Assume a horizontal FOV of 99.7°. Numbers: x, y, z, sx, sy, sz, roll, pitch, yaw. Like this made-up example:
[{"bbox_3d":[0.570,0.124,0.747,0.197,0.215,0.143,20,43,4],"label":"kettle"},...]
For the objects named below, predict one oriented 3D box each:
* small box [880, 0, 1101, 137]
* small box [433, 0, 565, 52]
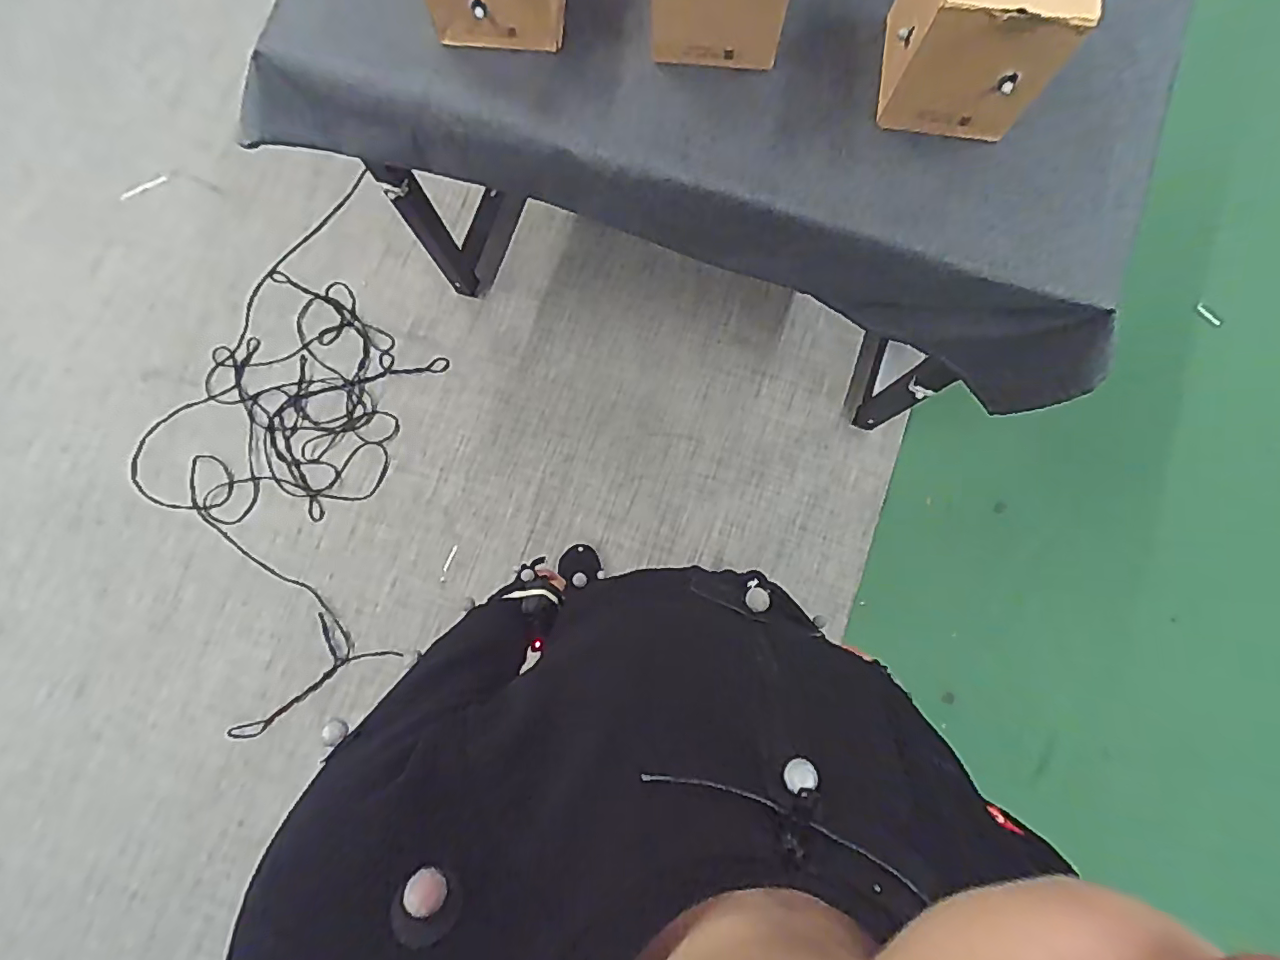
[{"bbox_3d":[0.408,-0.557,0.654,0.168,0.176,0.179,8,81,0],"label":"small box"},{"bbox_3d":[-0.184,-0.694,0.678,0.168,0.176,0.179,4,82,1],"label":"small box"}]
